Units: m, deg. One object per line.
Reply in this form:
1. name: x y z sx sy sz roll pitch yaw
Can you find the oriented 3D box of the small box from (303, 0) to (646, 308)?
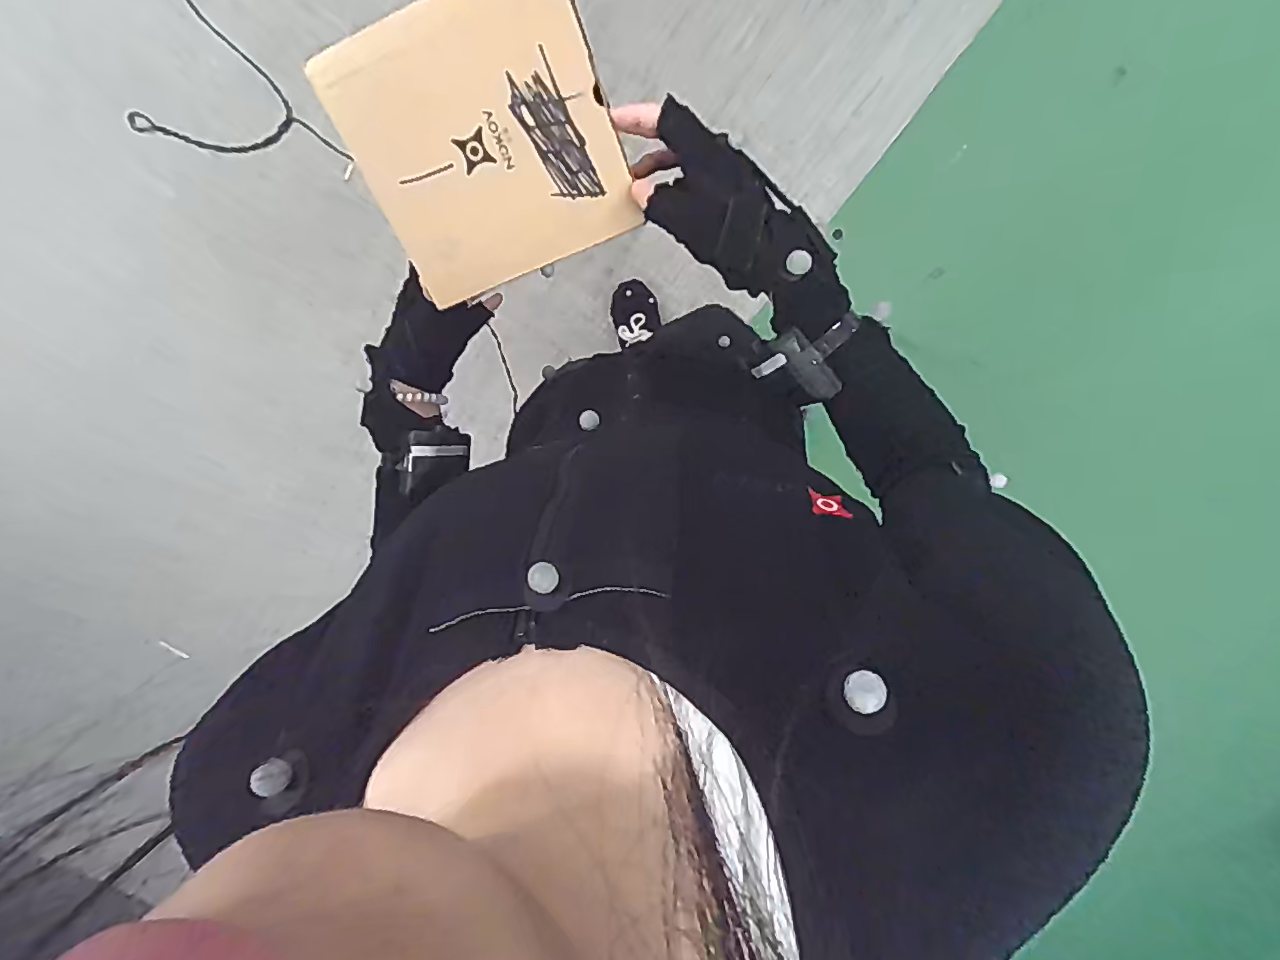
1. small box: -0.106 -0.262 0.430 0.179 0.176 0.168 -18 119 8
